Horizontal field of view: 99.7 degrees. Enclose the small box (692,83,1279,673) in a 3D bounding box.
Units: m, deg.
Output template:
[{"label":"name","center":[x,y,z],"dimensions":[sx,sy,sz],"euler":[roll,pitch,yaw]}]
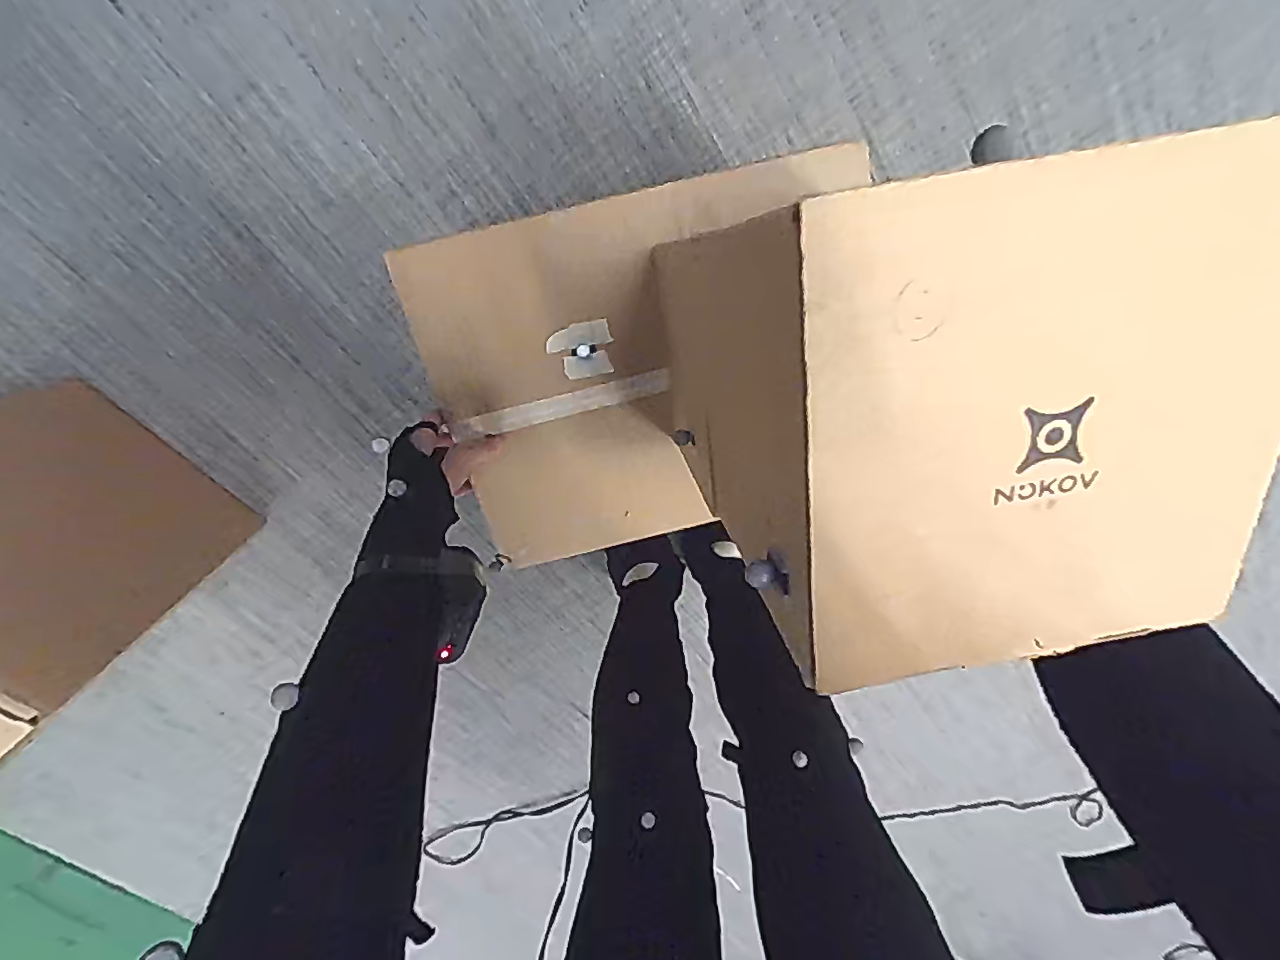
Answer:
[{"label":"small box","center":[0.125,-0.048,0.251],"dimensions":[0.168,0.176,0.179],"euler":[-10,113,-1]}]
